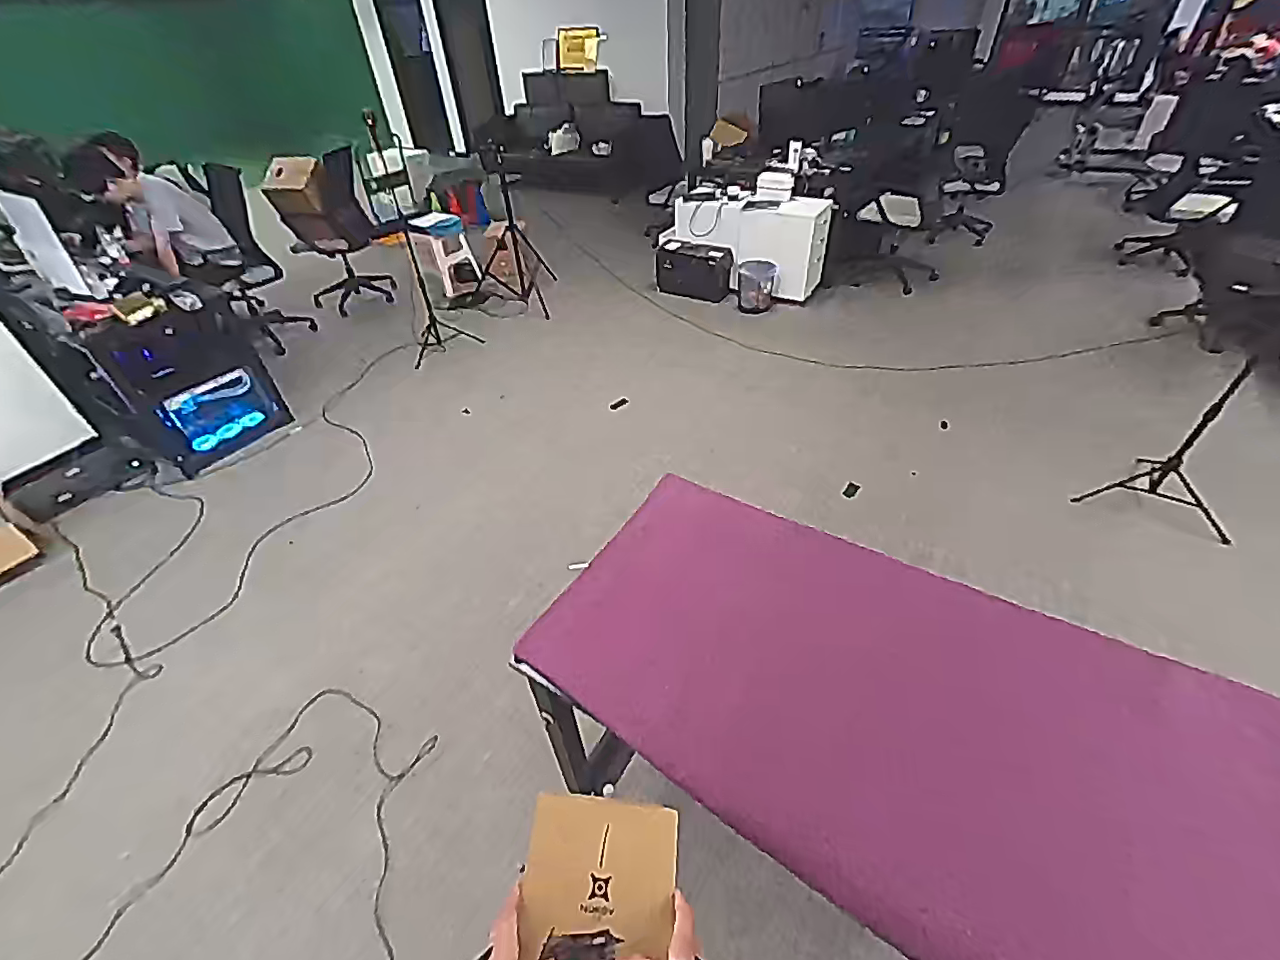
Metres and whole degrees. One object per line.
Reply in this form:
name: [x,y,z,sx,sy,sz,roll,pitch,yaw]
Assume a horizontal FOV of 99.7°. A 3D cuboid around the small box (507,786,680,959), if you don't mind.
small box: [-0.053,0.477,0.646,0.168,0.176,0.179,10,61,-3]
